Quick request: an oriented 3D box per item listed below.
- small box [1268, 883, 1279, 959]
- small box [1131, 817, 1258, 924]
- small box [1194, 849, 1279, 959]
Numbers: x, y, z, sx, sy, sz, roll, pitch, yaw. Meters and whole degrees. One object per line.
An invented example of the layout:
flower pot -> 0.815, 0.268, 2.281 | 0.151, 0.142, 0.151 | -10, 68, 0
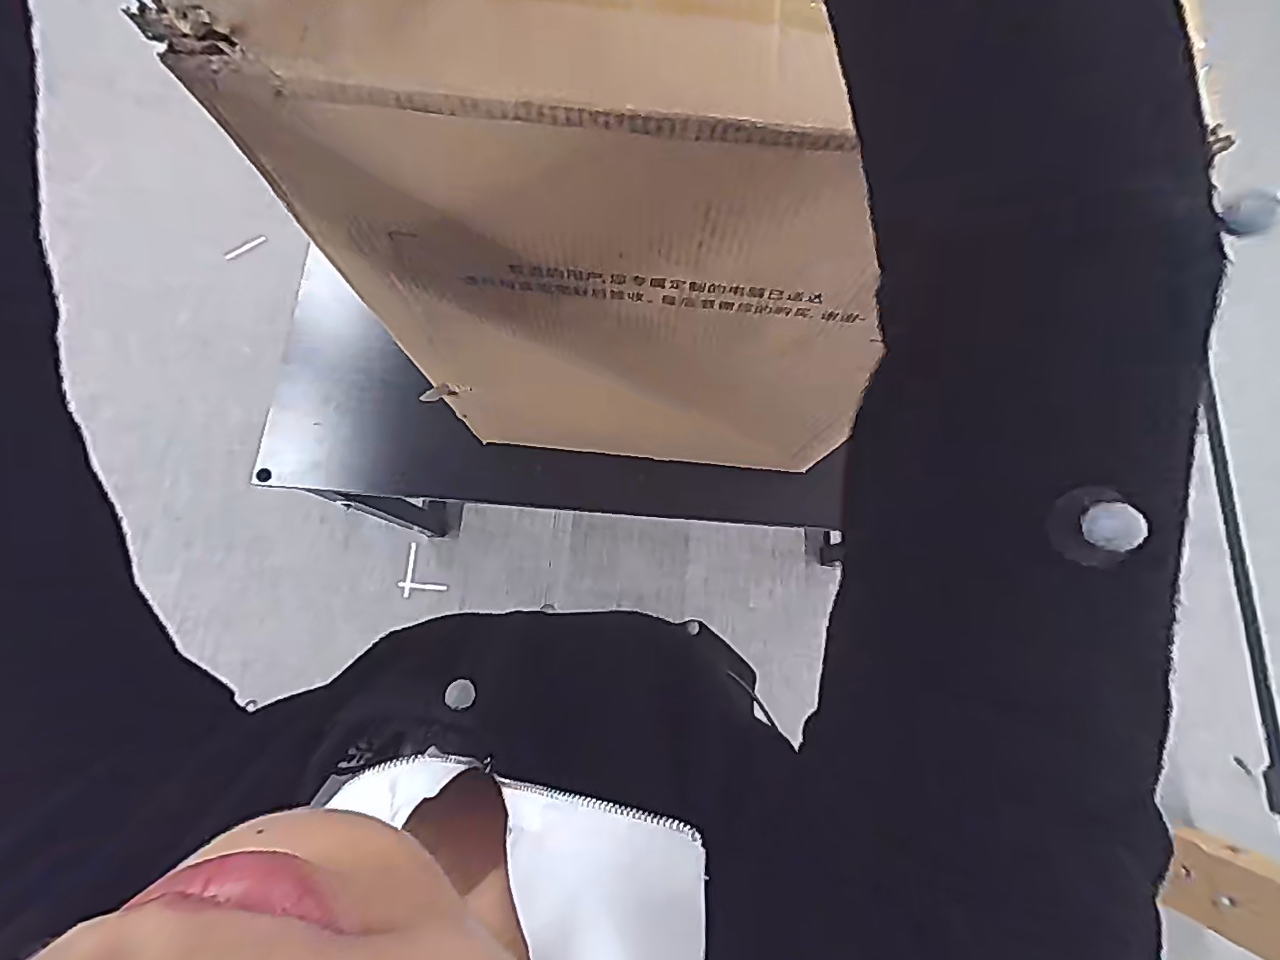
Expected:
small box -> 1.380, 0.905, 1.027 | 0.179, 0.176, 0.168 | 8, 76, 1
small box -> 1.378, 0.973, 1.347 | 0.168, 0.176, 0.179 | 9, 78, 0
small box -> 1.388, 0.943, 1.186 | 0.179, 0.176, 0.168 | 8, 77, 0
